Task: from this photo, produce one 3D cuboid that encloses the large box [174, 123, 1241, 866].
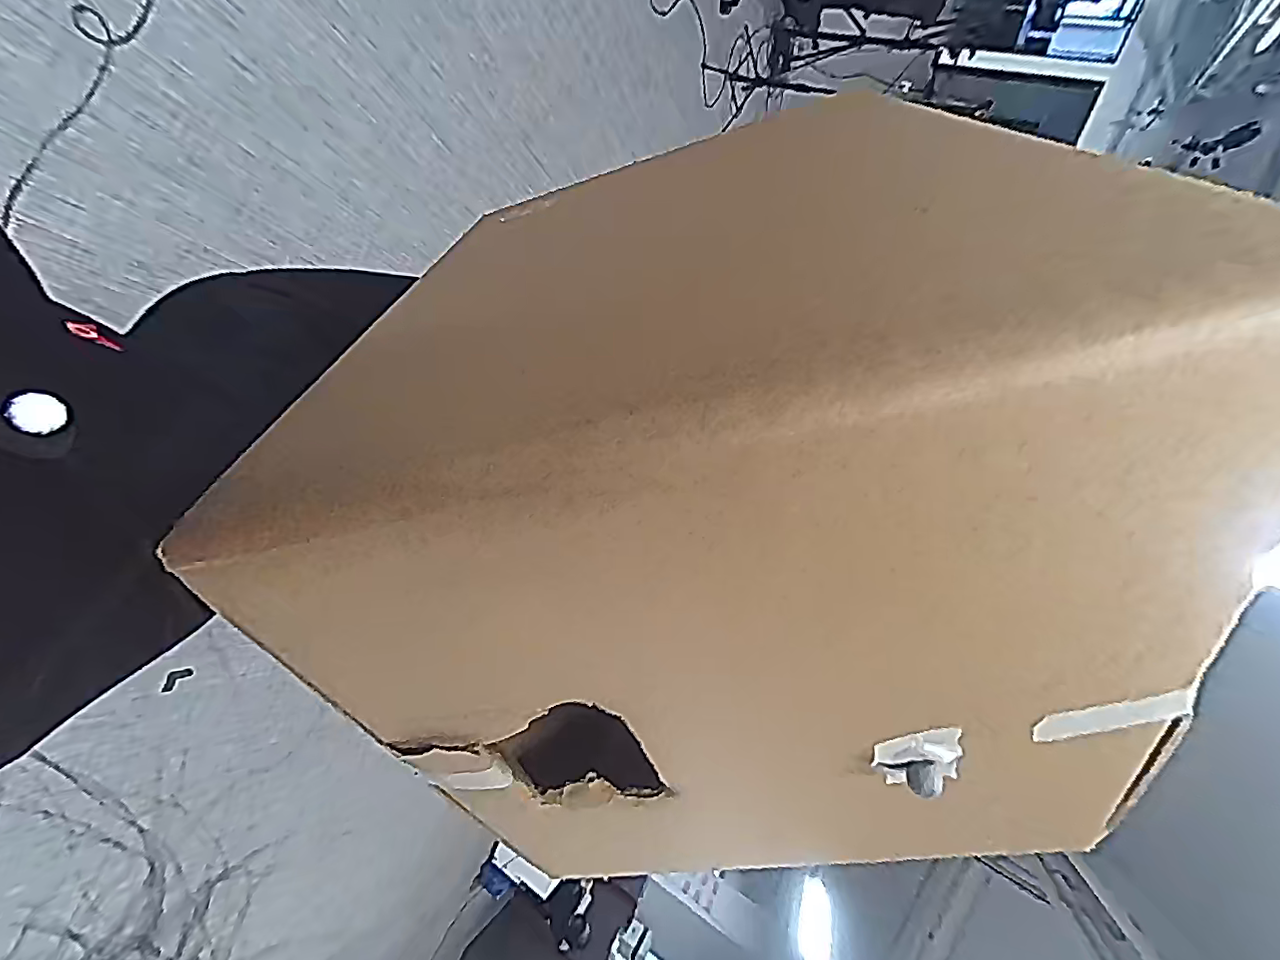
[{"bbox_3d":[0.043,-0.015,0.382,0.408,0.320,0.320,-85,161,-51],"label":"large box"}]
